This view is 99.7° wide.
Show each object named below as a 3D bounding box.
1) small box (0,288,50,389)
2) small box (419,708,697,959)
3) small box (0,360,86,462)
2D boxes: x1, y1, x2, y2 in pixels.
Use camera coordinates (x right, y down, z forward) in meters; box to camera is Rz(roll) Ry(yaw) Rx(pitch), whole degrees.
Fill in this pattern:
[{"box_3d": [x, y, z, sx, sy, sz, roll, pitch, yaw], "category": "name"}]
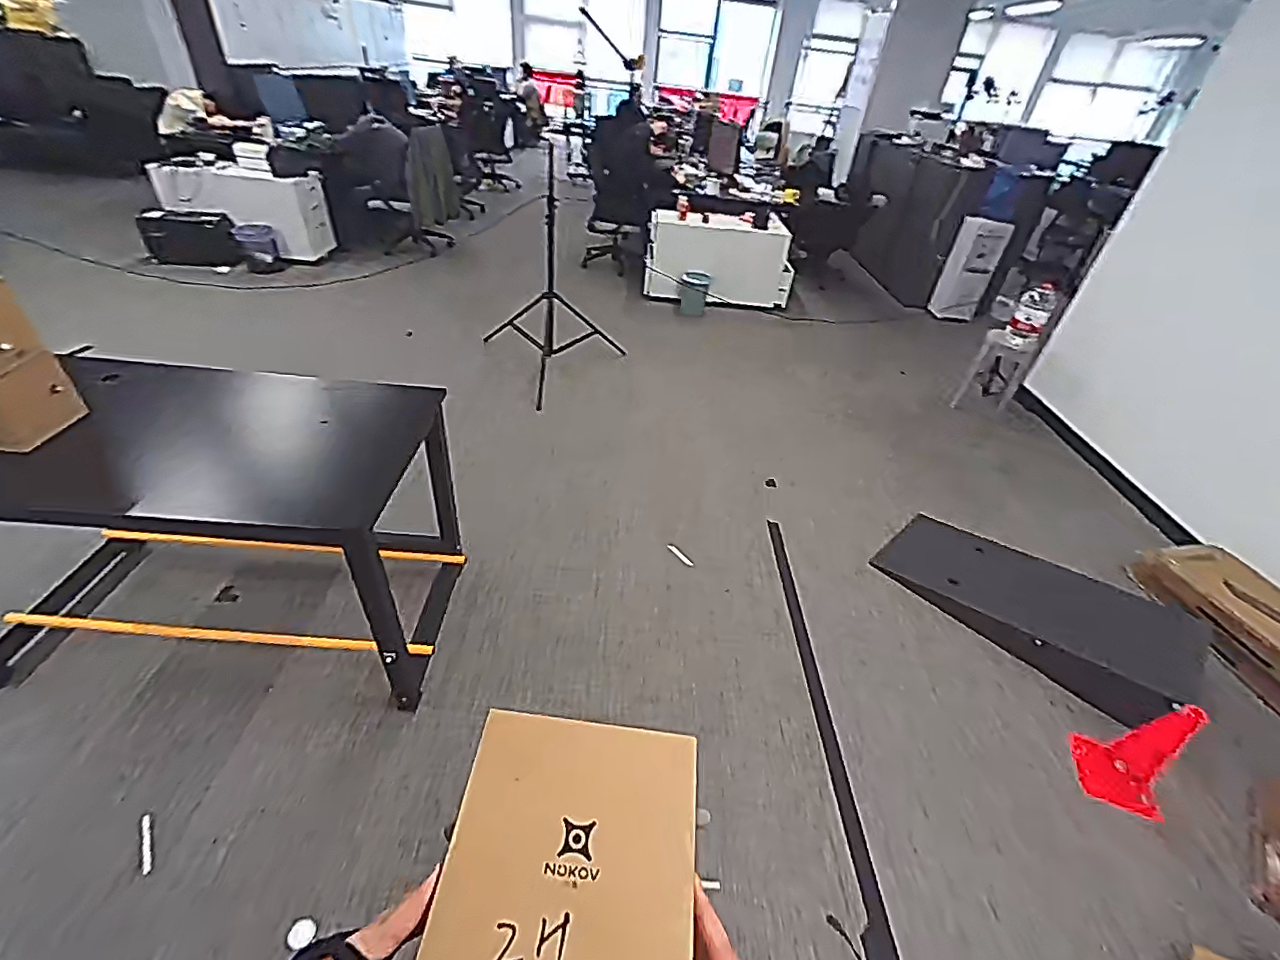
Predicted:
[{"box_3d": [-1.399, -0.286, 1.102, 0.179, 0.176, 0.168, 2, 37, -5], "category": "small box"}, {"box_3d": [-0.051, 0.307, 0.420, 0.168, 0.176, 0.179, 7, 44, 1], "category": "small box"}, {"box_3d": [-1.411, -0.159, 1.207, 0.168, 0.176, 0.179, 2, 38, -3], "category": "small box"}]
